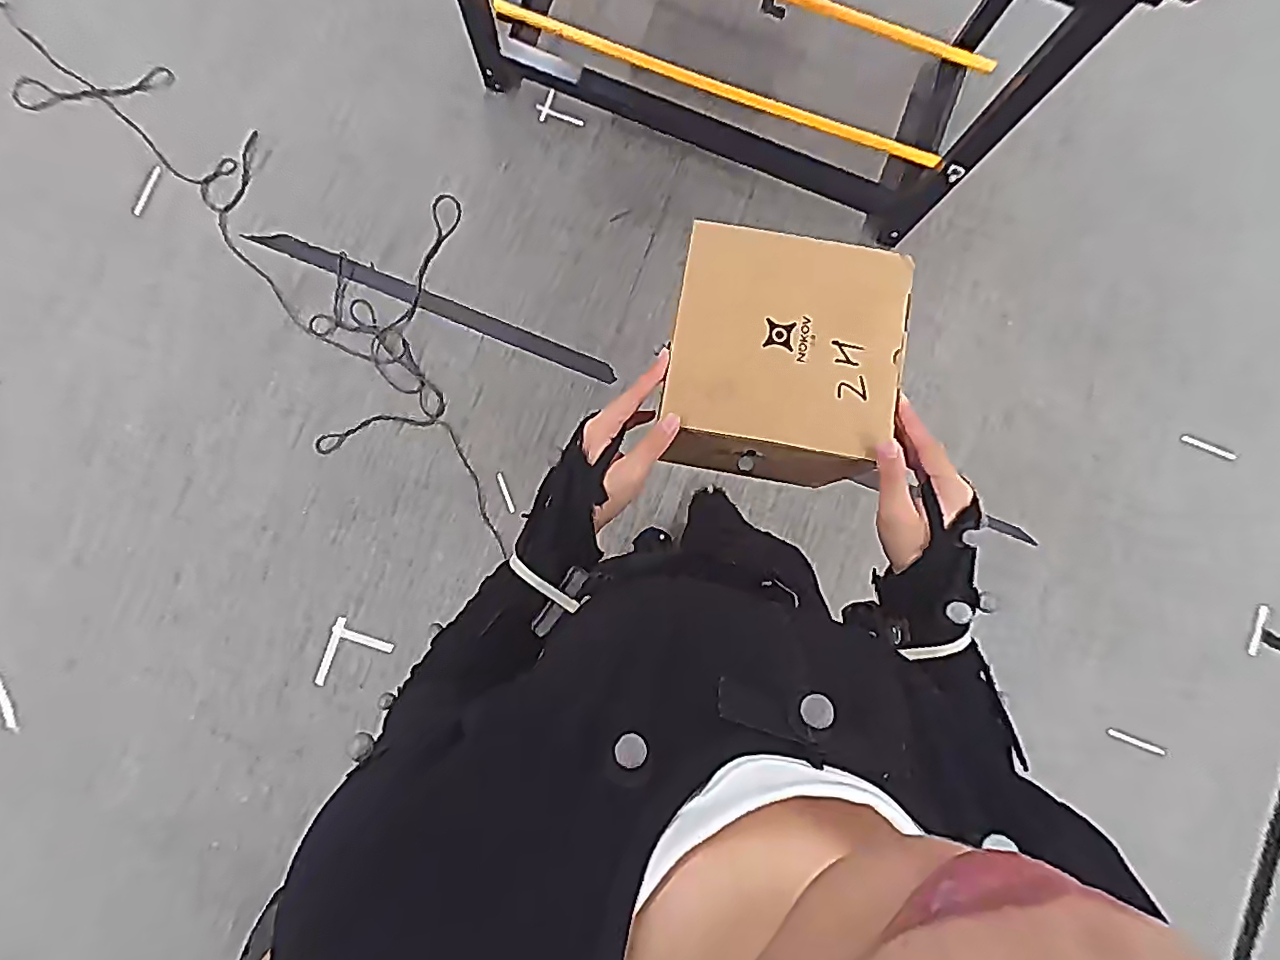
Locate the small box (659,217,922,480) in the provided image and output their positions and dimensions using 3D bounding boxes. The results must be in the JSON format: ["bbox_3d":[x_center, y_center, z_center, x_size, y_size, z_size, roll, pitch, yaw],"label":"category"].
[{"bbox_3d":[0.115,-0.099,0.483,0.179,0.176,0.168,10,84,0],"label":"small box"}]
